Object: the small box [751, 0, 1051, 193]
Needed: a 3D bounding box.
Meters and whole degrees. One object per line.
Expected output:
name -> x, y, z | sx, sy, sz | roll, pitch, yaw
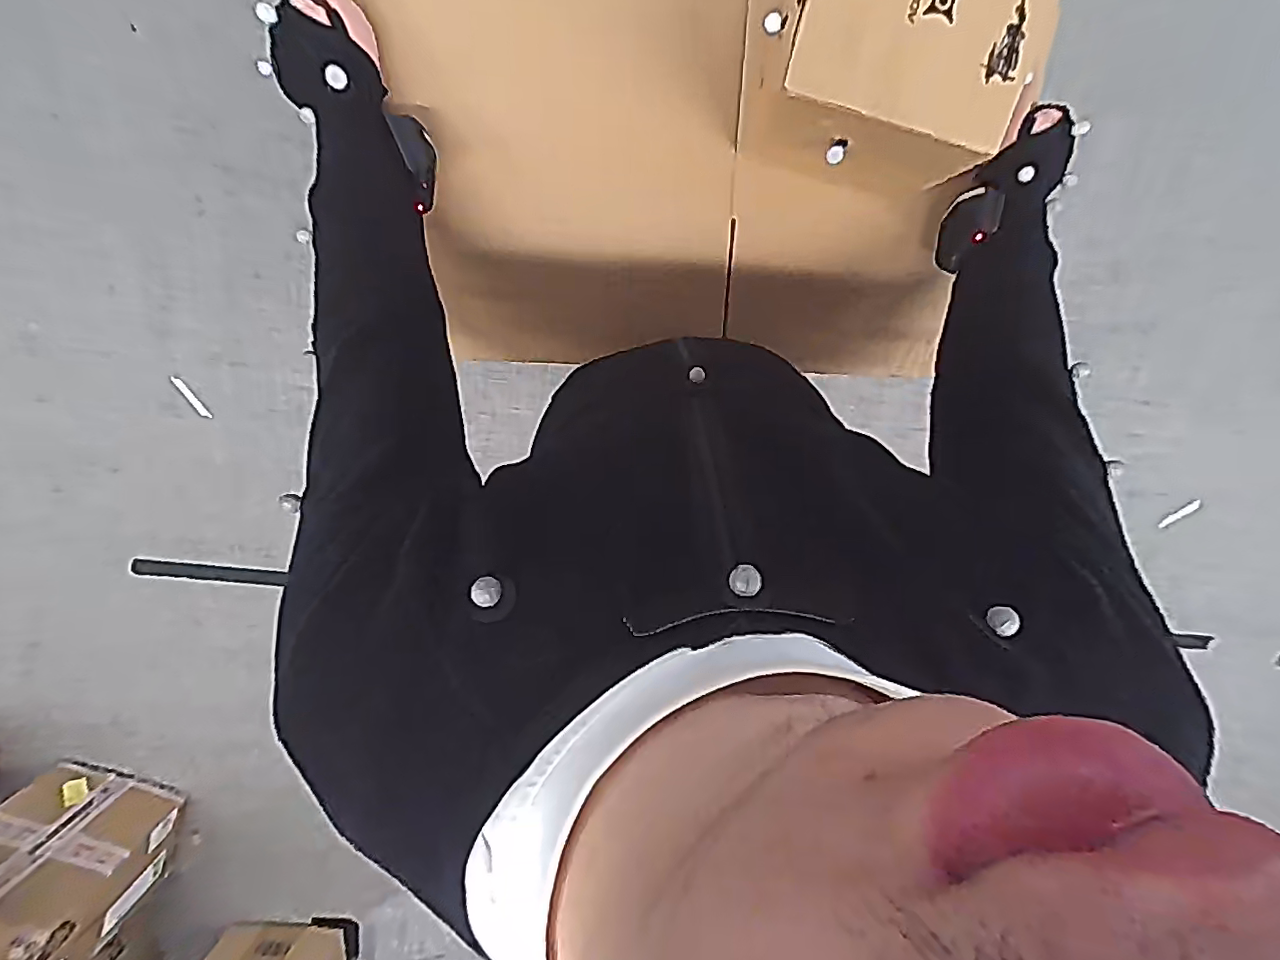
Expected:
small box -> 0.210, -0.371, 0.467 | 0.179, 0.176, 0.168 | 14, 106, -3
